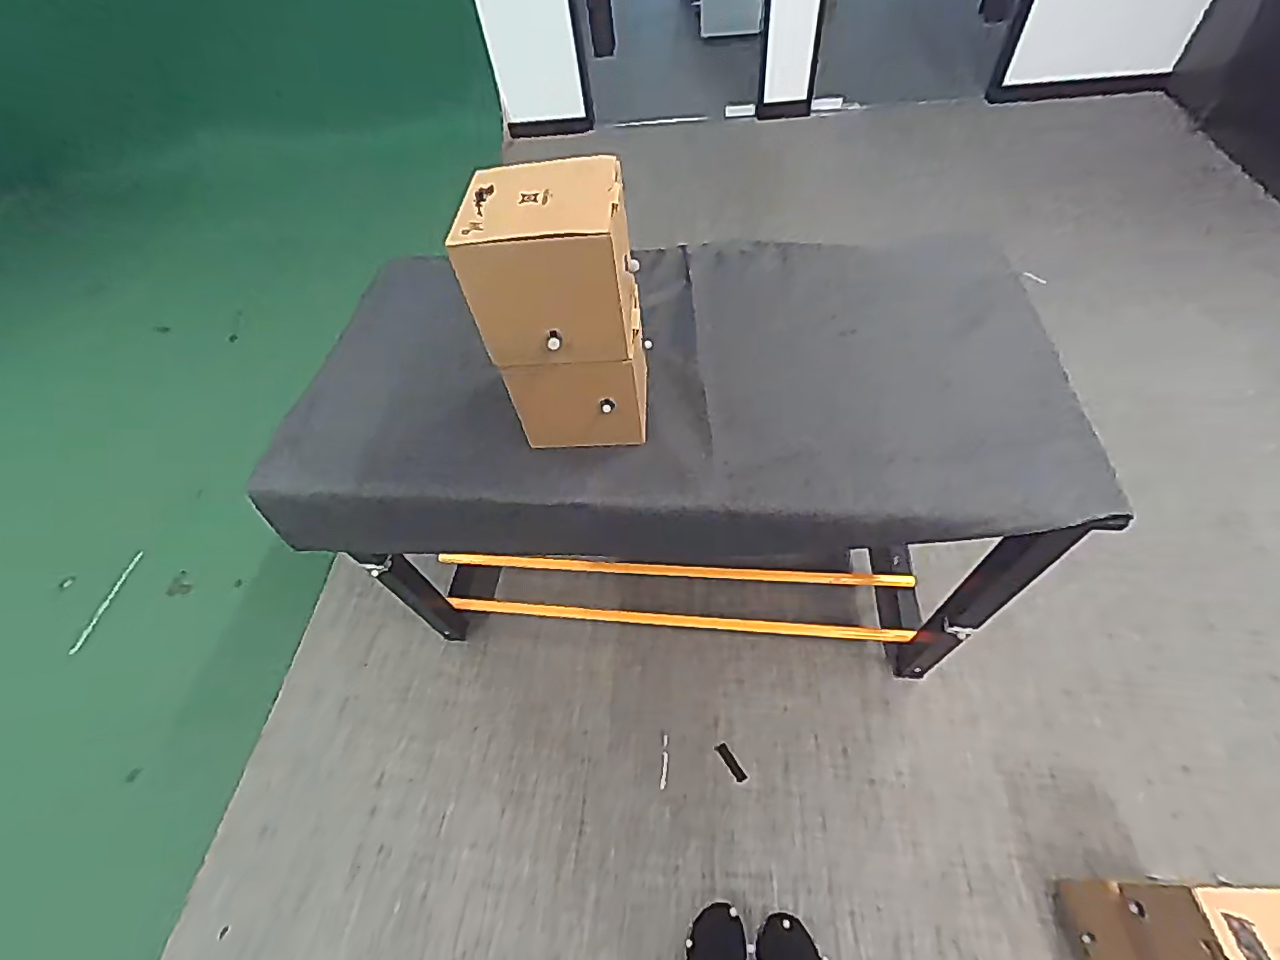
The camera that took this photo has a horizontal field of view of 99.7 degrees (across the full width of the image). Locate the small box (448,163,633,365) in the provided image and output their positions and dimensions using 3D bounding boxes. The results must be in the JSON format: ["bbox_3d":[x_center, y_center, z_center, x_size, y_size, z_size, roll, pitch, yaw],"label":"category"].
[{"bbox_3d":[-0.103,-0.257,0.659,0.179,0.176,0.168,-2,53,5],"label":"small box"}]

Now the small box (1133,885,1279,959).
[{"bbox_3d":[0.864,0.683,0.768,0.179,0.176,0.168,-2,55,4],"label":"small box"}]

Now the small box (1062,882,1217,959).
[{"bbox_3d":[0.868,0.777,0.903,0.179,0.176,0.168,-4,54,5],"label":"small box"}]

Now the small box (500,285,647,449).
[{"bbox_3d":[-0.083,-0.160,0.791,0.179,0.176,0.168,-3,53,6],"label":"small box"}]
